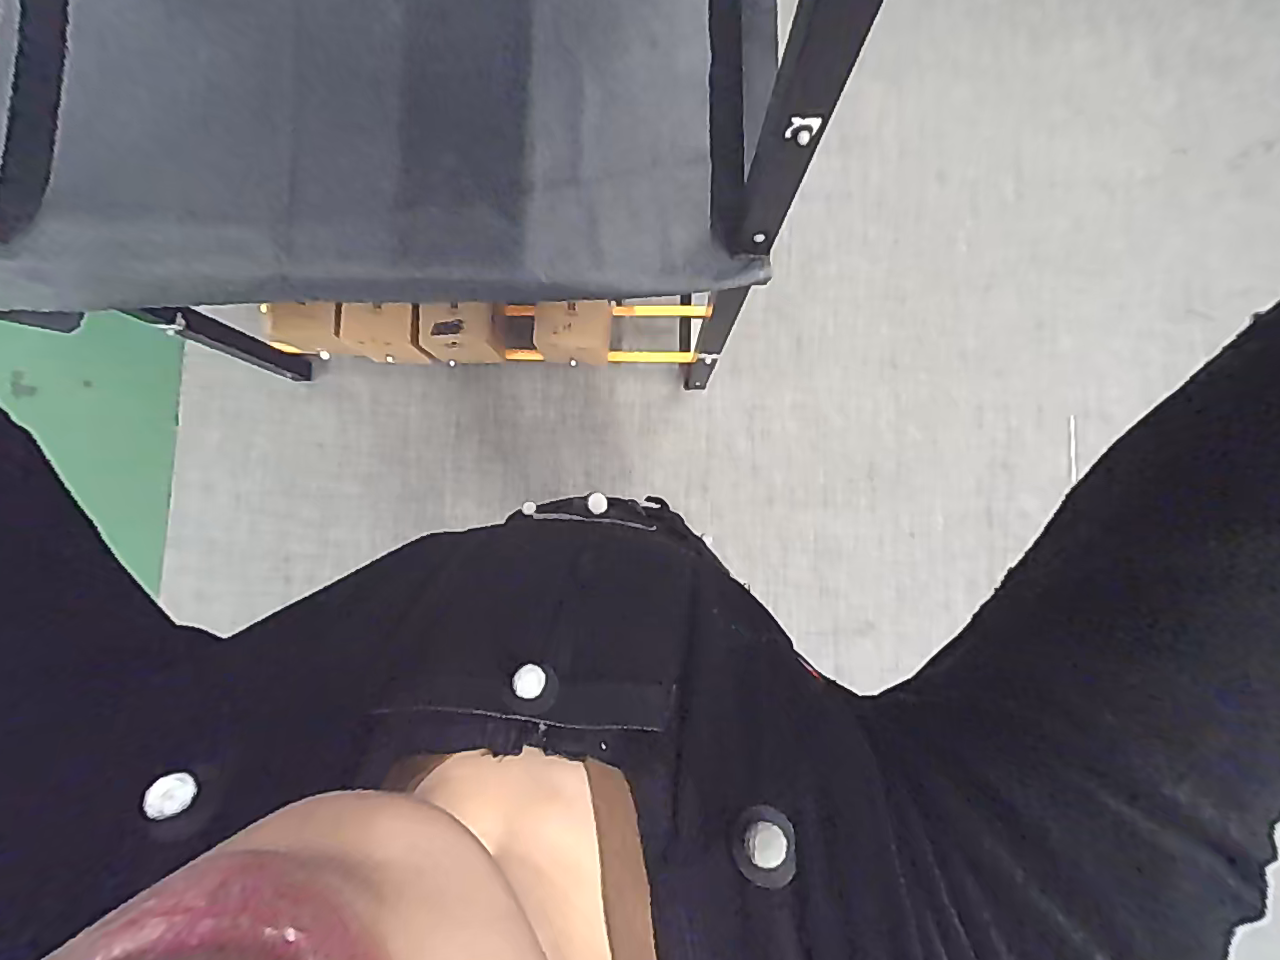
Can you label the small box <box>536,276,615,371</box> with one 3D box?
[{"bbox_3d":[-0.156,-0.390,1.365,0.168,0.176,0.179,6,87,2],"label":"small box"}]
